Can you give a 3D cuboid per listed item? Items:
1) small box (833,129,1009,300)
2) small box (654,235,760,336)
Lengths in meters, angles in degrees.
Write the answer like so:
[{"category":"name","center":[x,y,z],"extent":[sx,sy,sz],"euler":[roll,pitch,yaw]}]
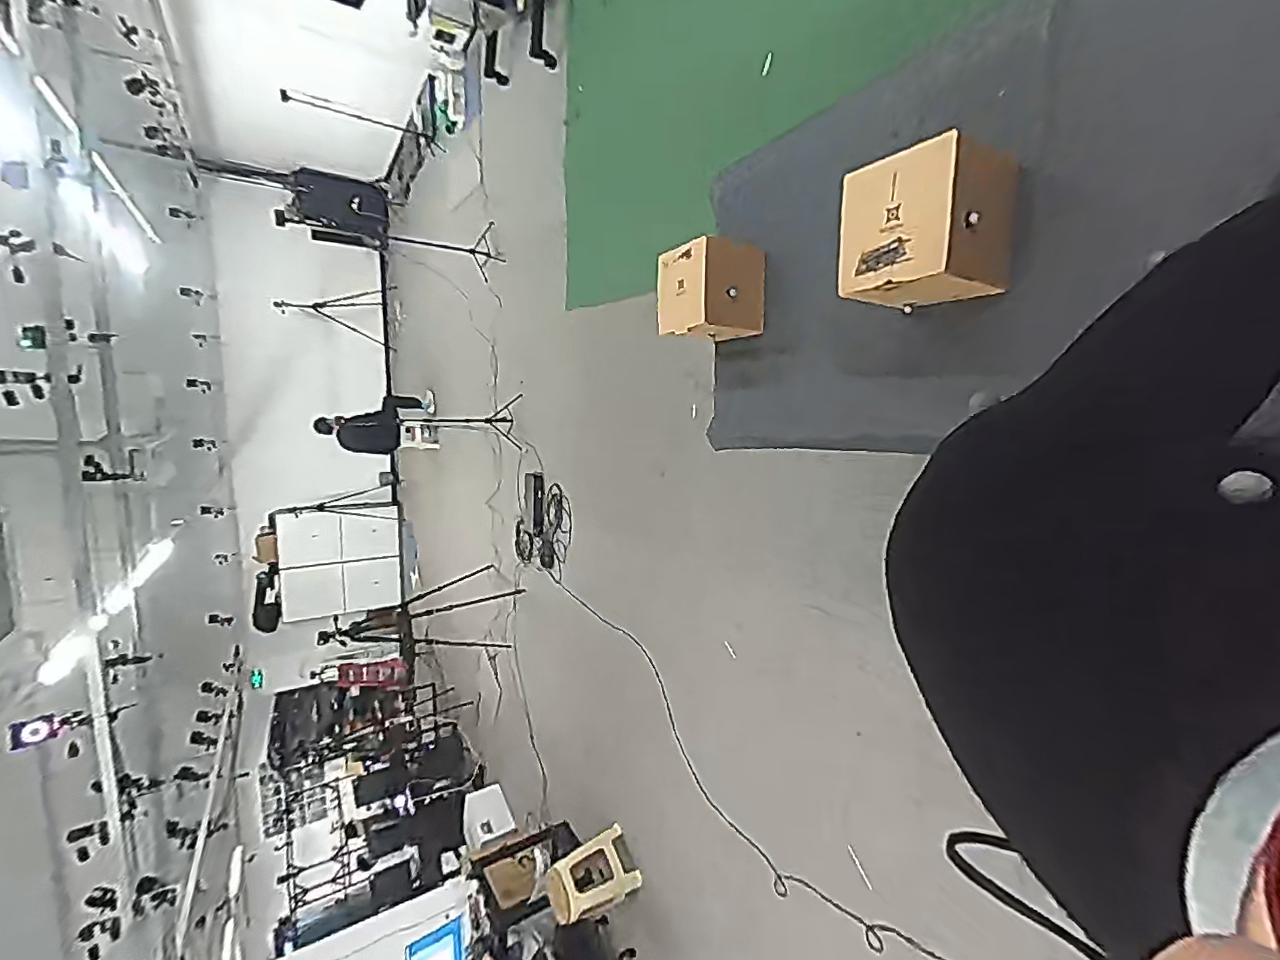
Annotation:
[{"category":"small box","center":[0.406,-0.365,0.787],"extent":[0.168,0.176,0.179],"euler":[12,103,56]},{"category":"small box","center":[0.147,-0.413,1.181],"extent":[0.168,0.176,0.179],"euler":[8,102,55]}]
